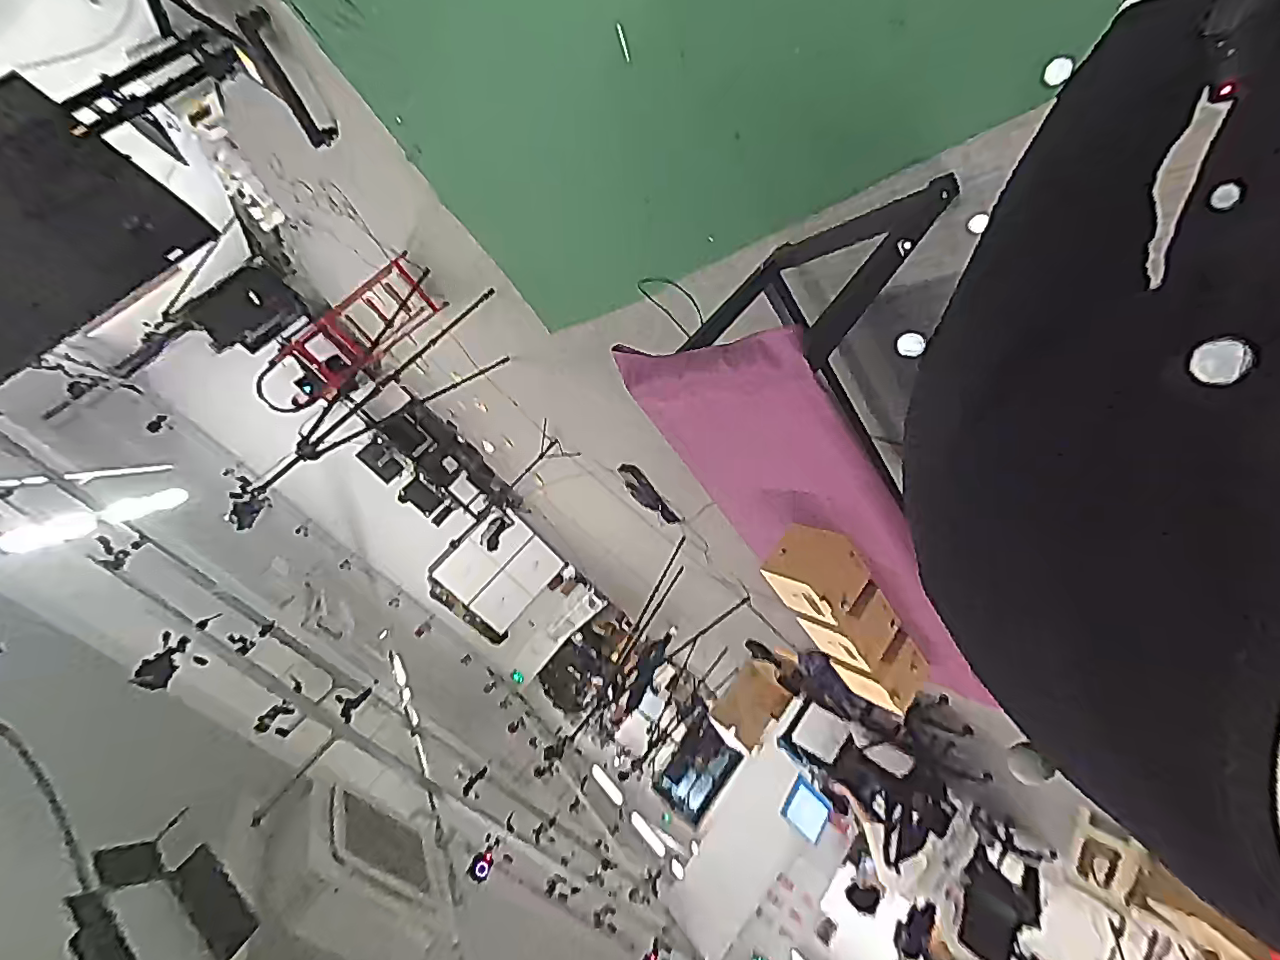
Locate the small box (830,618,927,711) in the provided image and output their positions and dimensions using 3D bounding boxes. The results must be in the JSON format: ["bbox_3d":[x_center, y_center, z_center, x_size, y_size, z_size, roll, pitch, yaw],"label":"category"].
[{"bbox_3d":[0.702,0.533,1.589,0.168,0.176,0.179,50,160,-25],"label":"small box"}]
